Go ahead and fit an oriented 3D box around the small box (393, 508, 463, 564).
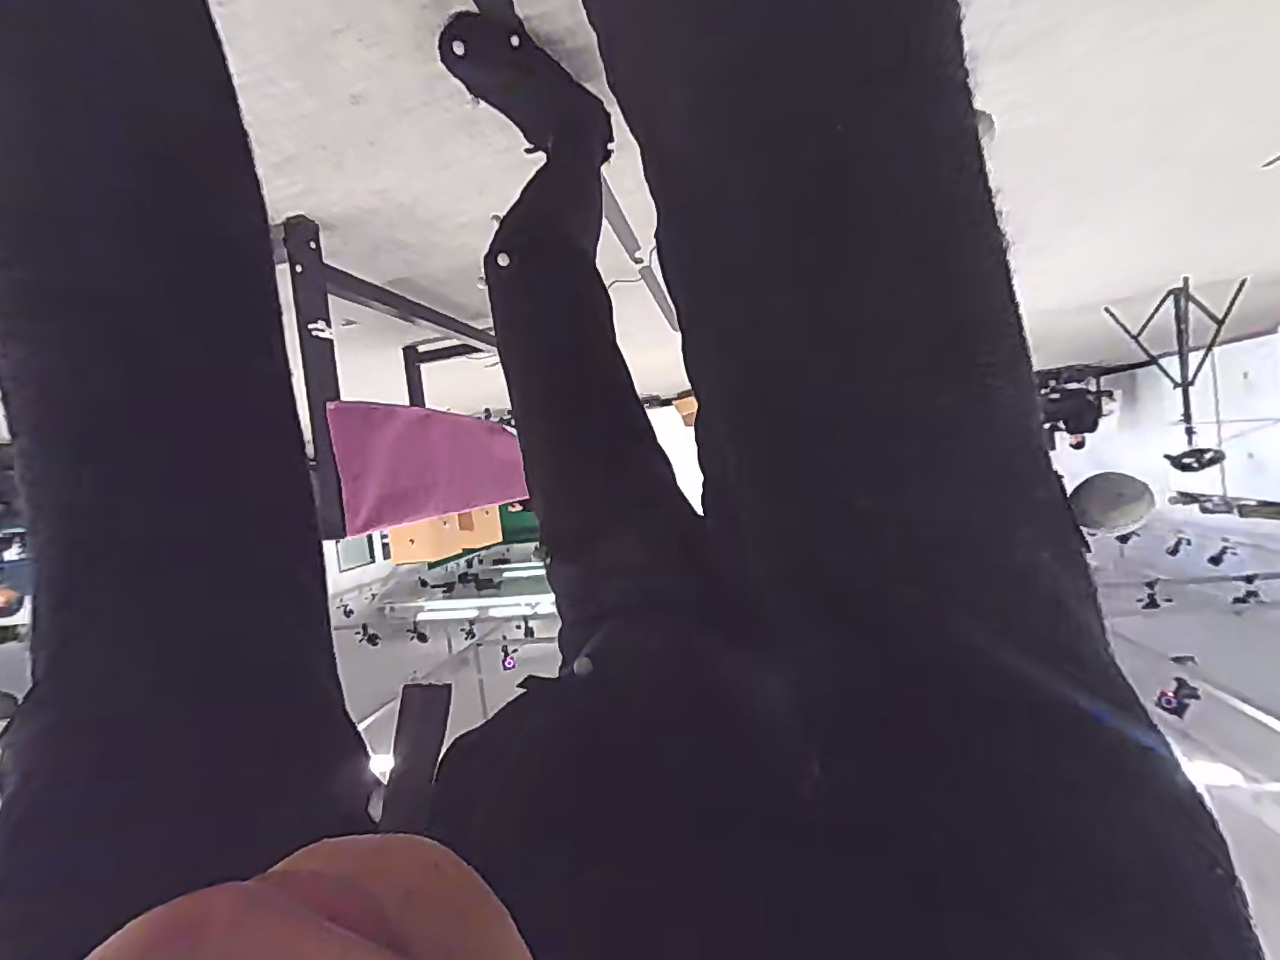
[{"bbox_3d":[-0.759,0.196,1.932,0.179,0.176,0.168,-7,-178,16],"label":"small box"}]
